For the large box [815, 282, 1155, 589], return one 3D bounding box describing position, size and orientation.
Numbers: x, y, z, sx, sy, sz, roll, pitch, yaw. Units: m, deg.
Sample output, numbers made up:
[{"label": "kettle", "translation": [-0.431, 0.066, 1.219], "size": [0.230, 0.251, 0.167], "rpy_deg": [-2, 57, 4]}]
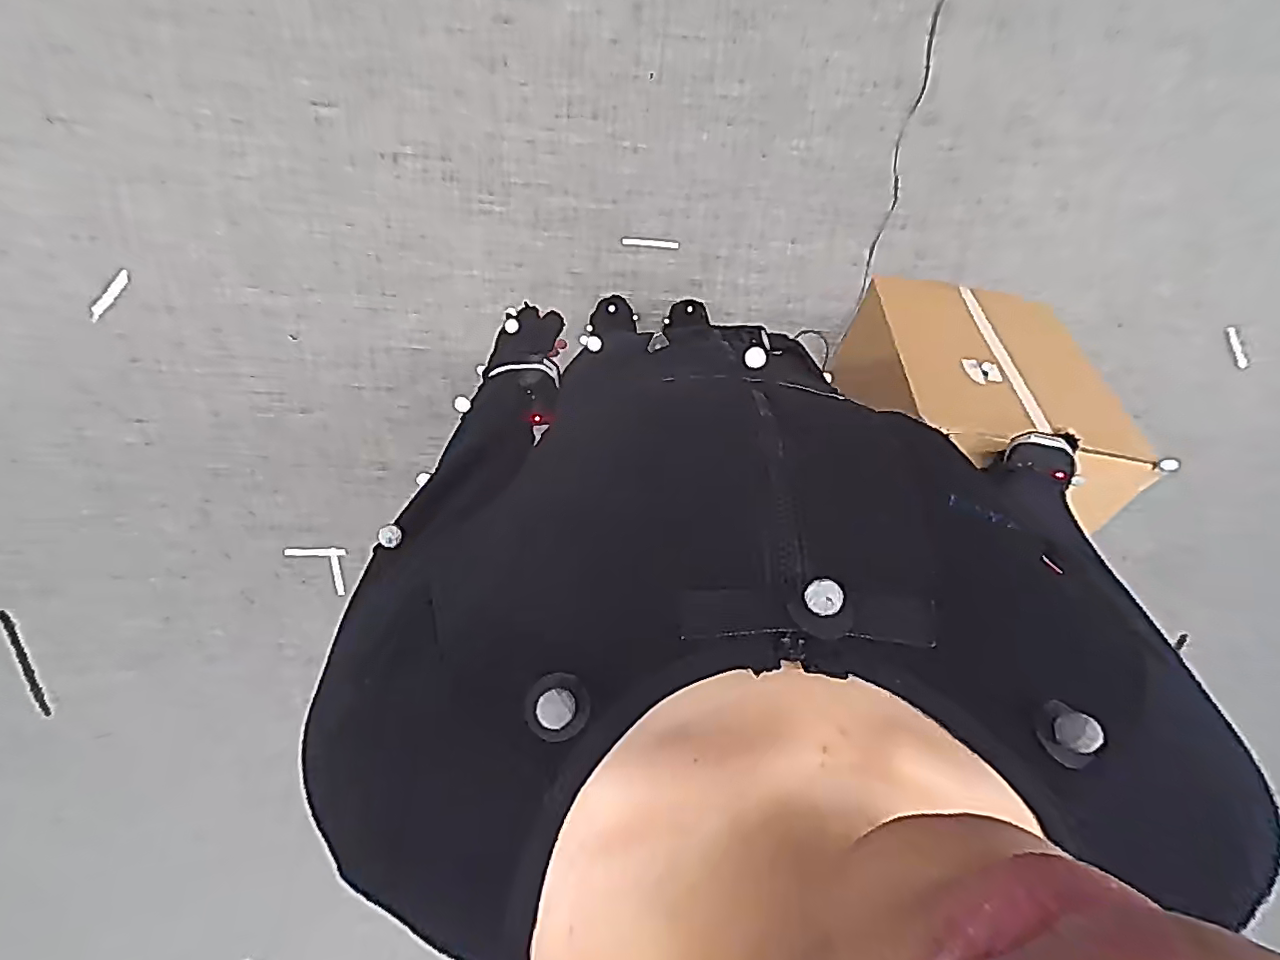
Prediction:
[{"label": "large box", "translation": [0.521, -0.081, 0.937], "size": [0.320, 0.408, 0.320], "rpy_deg": [10, 139, 0]}]
